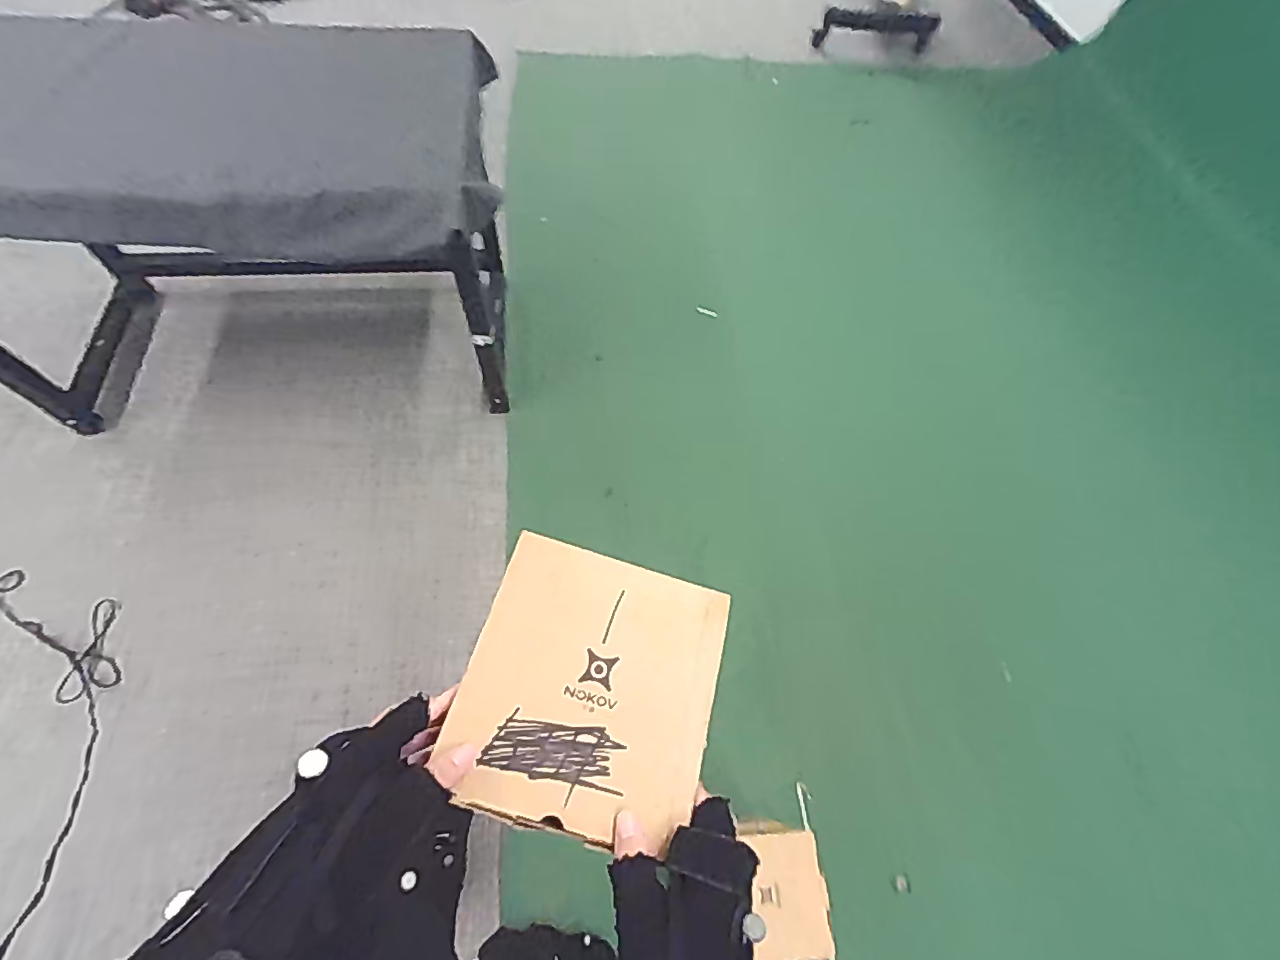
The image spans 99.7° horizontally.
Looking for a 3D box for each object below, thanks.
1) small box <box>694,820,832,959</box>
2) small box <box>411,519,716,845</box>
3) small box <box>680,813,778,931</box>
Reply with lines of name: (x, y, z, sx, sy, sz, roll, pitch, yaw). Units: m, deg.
small box: (0.200, 0.691, 0.932, 0.179, 0.176, 0.168, 0, 61, -6)
small box: (-0.054, 0.162, 0.436, 0.168, 0.176, 0.179, 18, 60, -2)
small box: (0.183, 0.768, 1.076, 0.179, 0.176, 0.168, -2, 61, -4)
